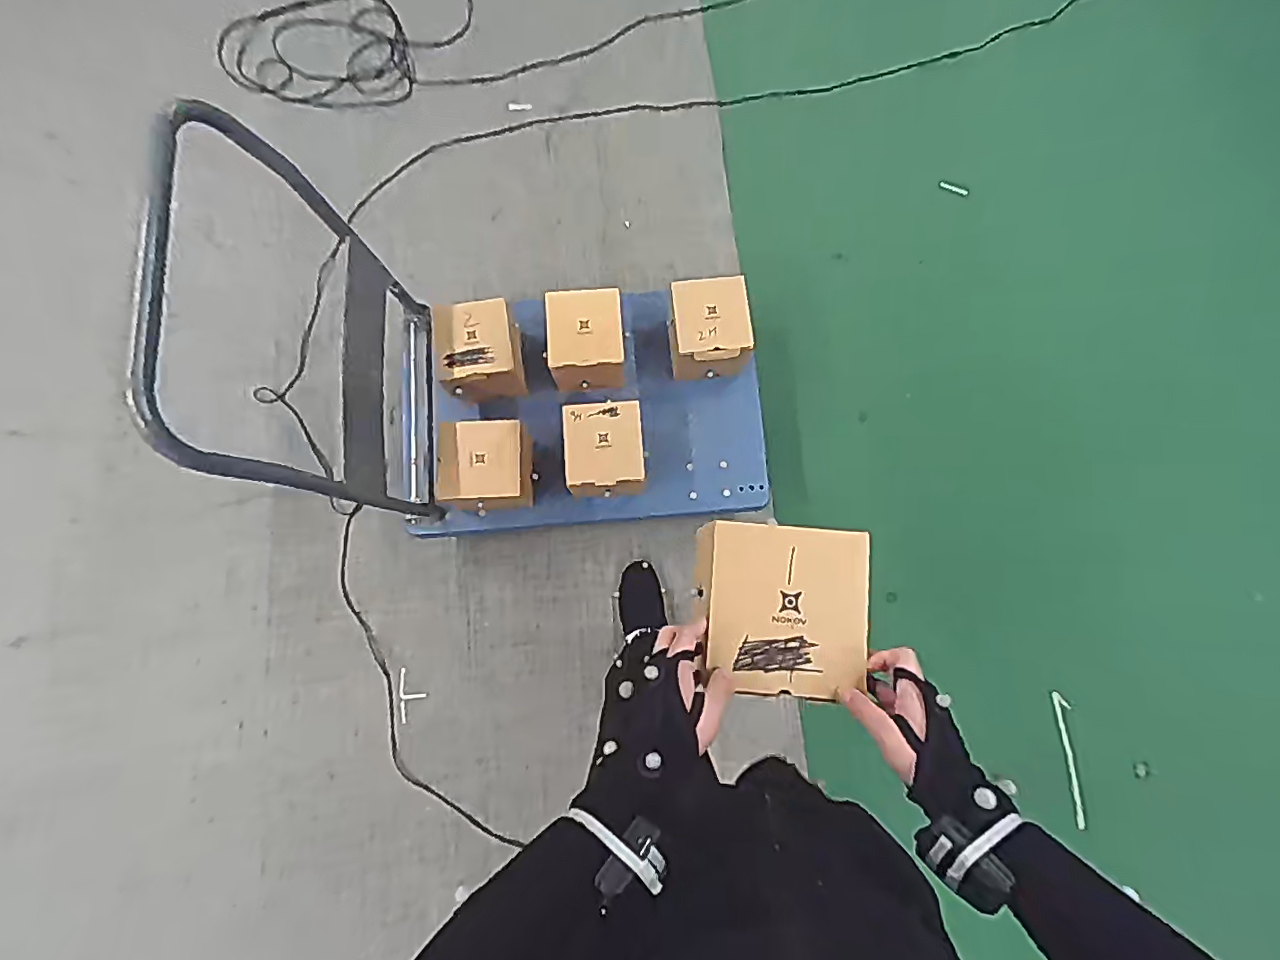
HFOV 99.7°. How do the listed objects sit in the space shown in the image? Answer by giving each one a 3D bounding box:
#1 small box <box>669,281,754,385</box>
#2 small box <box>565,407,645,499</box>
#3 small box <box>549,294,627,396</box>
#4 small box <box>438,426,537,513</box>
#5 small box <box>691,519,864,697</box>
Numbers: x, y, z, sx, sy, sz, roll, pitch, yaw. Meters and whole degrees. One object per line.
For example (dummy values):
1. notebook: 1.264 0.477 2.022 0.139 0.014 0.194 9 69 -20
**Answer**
1. small box: 0.161 -0.338 1.268 0.168 0.176 0.179 -5 80 -1
2. small box: -0.074 -0.054 1.212 0.168 0.176 0.179 -3 79 -2
3. small box: -0.118 -0.310 1.263 0.168 0.176 0.179 -4 81 -2
4. small box: -0.332 -0.018 1.204 0.179 0.176 0.168 -2 80 -2
5. small box: 0.155 0.148 0.658 0.168 0.176 0.179 5 80 -1
